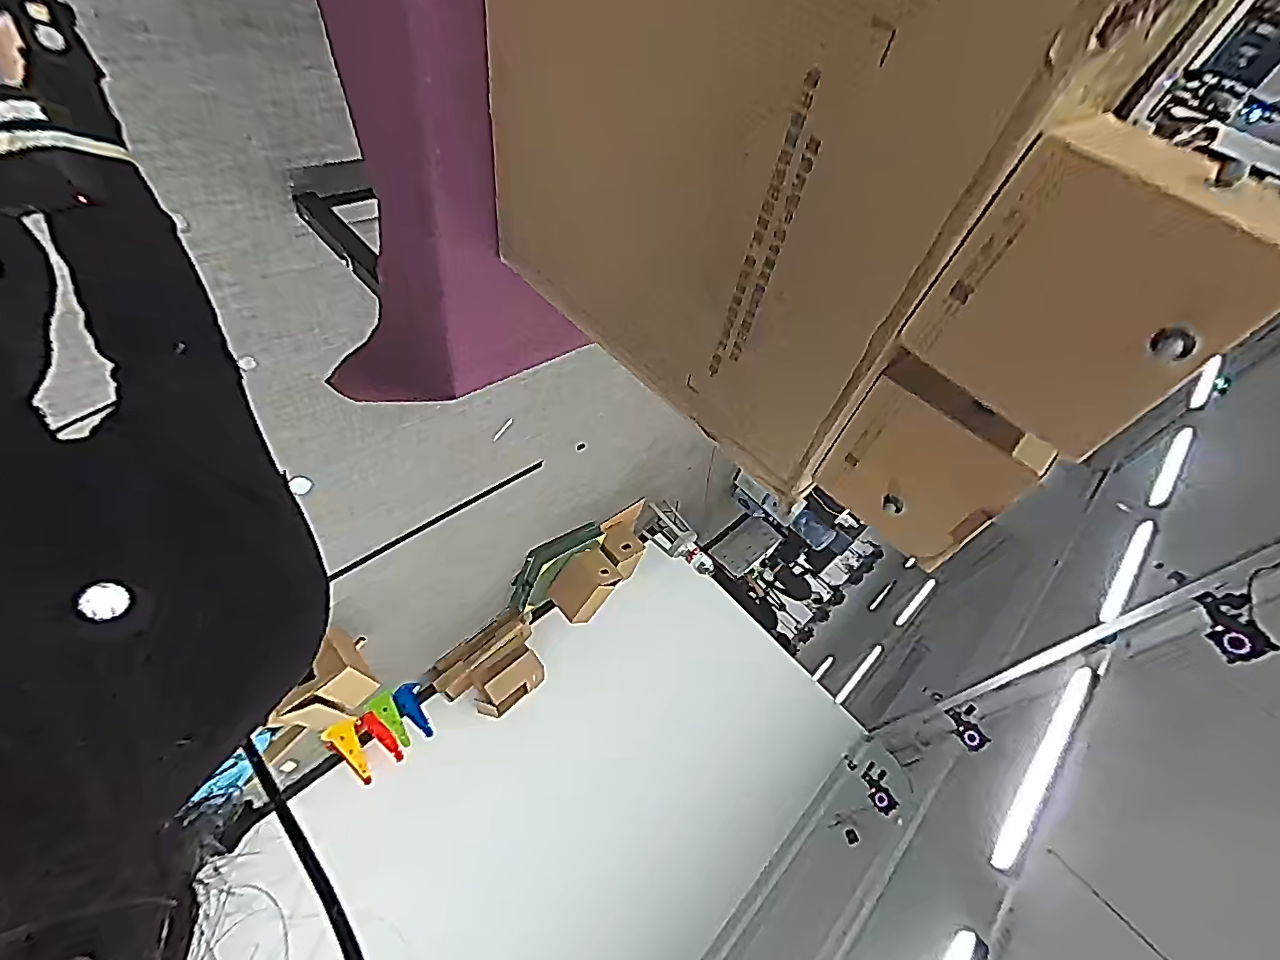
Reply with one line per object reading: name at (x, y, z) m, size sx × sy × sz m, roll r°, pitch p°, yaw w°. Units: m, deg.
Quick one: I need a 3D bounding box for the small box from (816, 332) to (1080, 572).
small box at (0.333, -0.038, 0.609) m, size 0.179 × 0.176 × 0.168 m, roll -33°, pitch 156°, yaw -35°
